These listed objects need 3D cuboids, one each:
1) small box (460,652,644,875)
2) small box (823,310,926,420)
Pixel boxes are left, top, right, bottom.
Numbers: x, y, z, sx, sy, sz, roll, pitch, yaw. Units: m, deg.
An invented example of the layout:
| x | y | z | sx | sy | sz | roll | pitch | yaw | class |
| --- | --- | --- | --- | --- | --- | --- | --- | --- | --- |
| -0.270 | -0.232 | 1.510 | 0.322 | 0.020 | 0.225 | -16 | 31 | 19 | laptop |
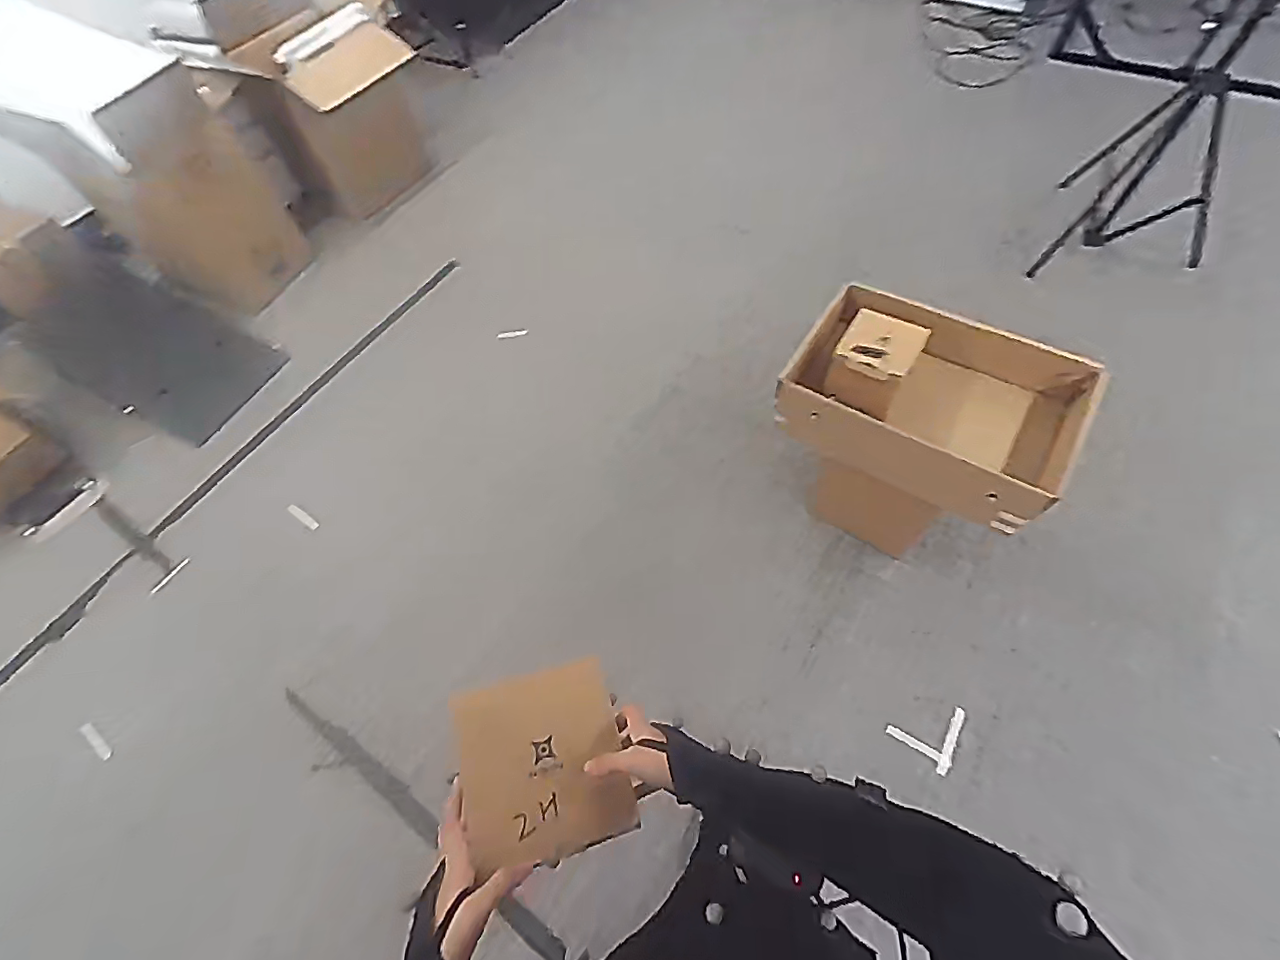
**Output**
| x | y | z | sx | sy | sz | roll | pitch | yaw | class |
| --- | --- | --- | --- | --- | --- | --- | --- | --- | --- |
| -0.112 | 0.318 | 0.620 | 0.168 | 0.176 | 0.179 | -7 | 62 | -19 | small box |
| 0.566 | -0.277 | 1.329 | 0.168 | 0.176 | 0.179 | 27 | 66 | 20 | small box |
